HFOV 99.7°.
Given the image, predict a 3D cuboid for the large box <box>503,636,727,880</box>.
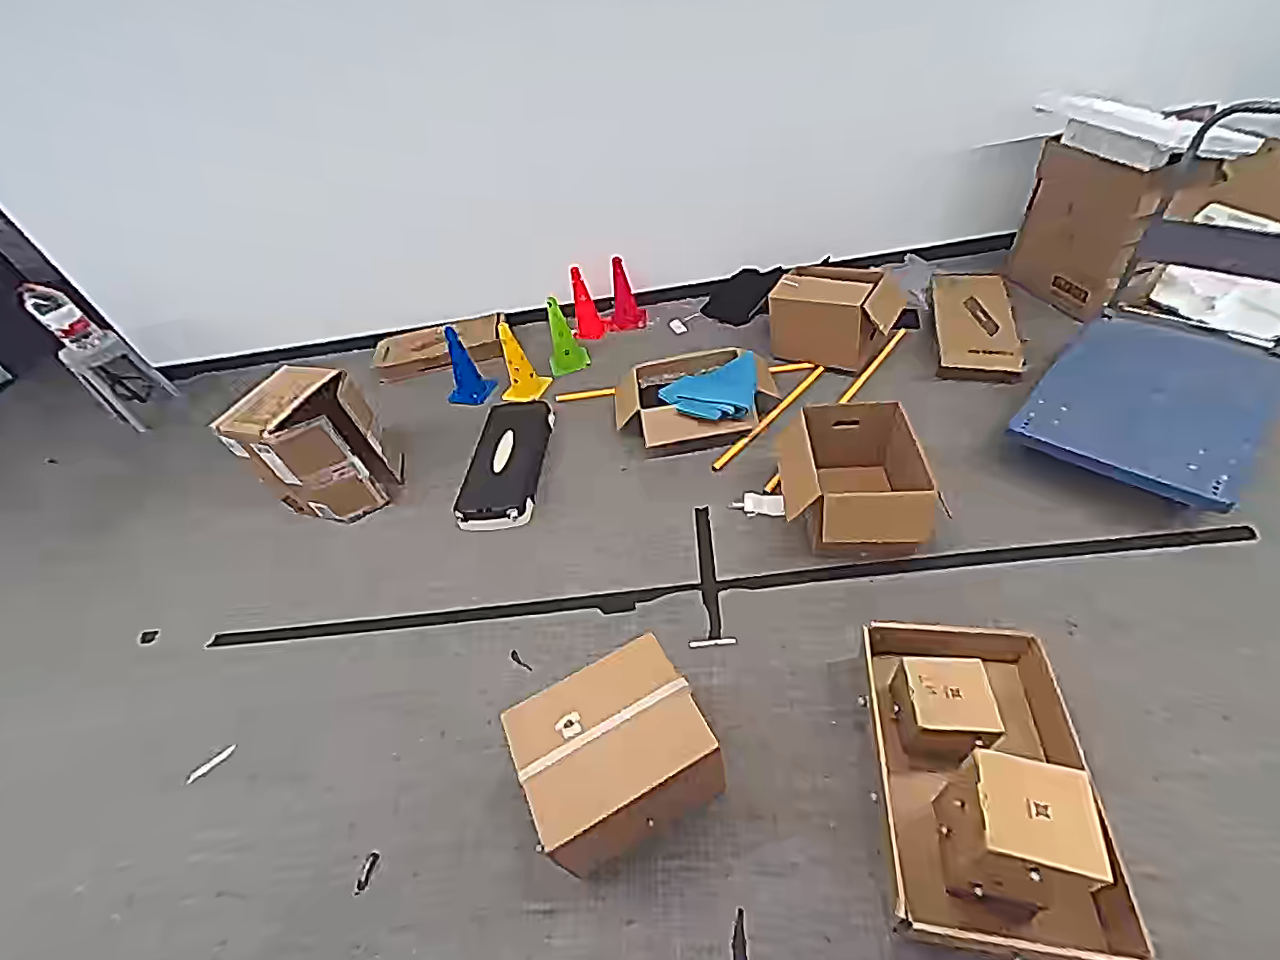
[{"bbox_3d":[-0.048,0.655,1.286,0.408,0.320,0.320,-27,46,-12],"label":"large box"}]
